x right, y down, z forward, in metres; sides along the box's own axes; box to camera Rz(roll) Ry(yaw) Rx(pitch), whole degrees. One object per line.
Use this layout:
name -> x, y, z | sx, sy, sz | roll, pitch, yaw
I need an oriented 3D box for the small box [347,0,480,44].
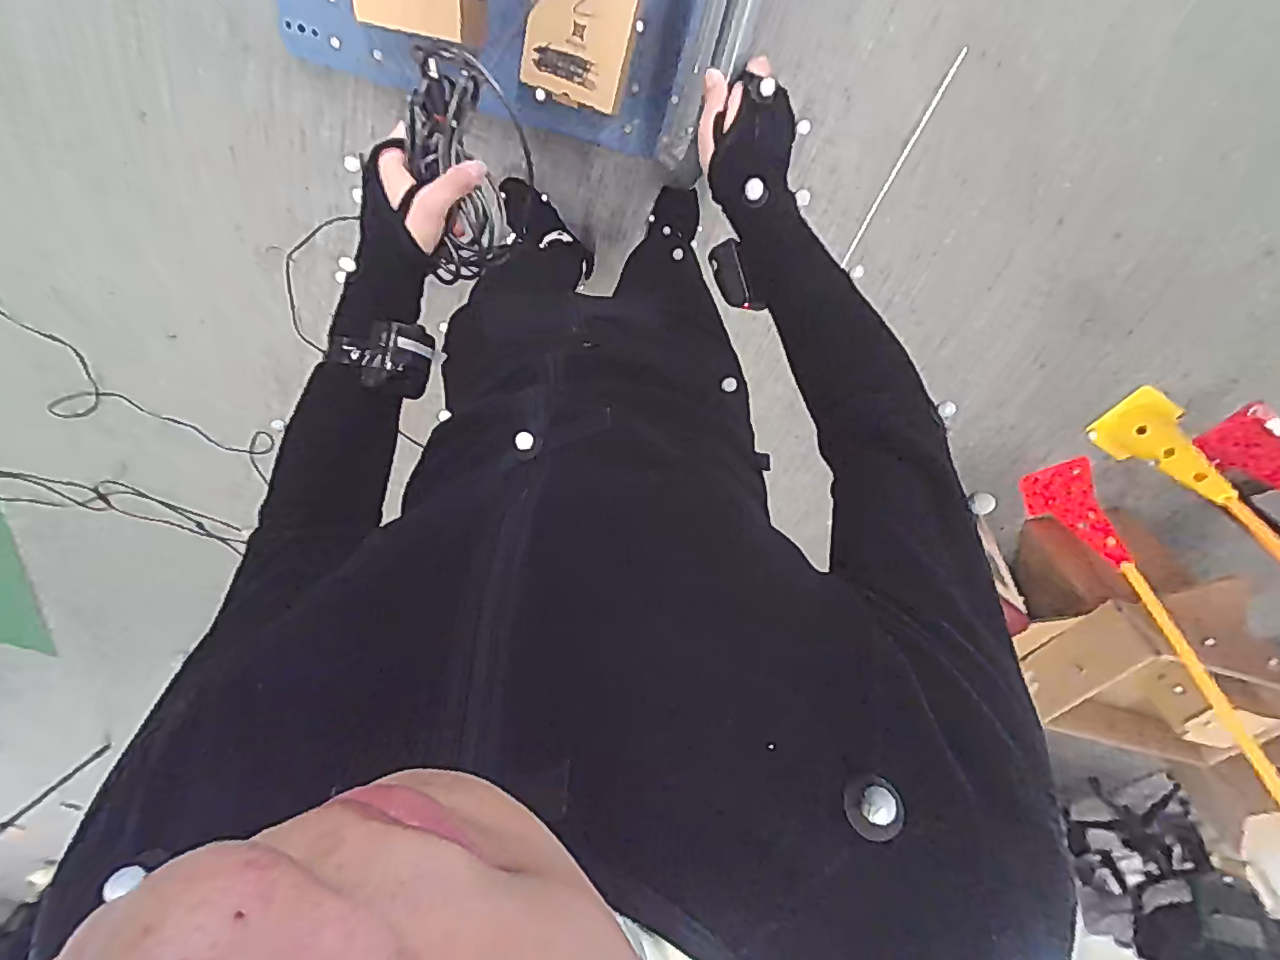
small box -> -0.370, -0.851, 0.902 | 0.179, 0.176, 0.168 | 10, 126, -4
